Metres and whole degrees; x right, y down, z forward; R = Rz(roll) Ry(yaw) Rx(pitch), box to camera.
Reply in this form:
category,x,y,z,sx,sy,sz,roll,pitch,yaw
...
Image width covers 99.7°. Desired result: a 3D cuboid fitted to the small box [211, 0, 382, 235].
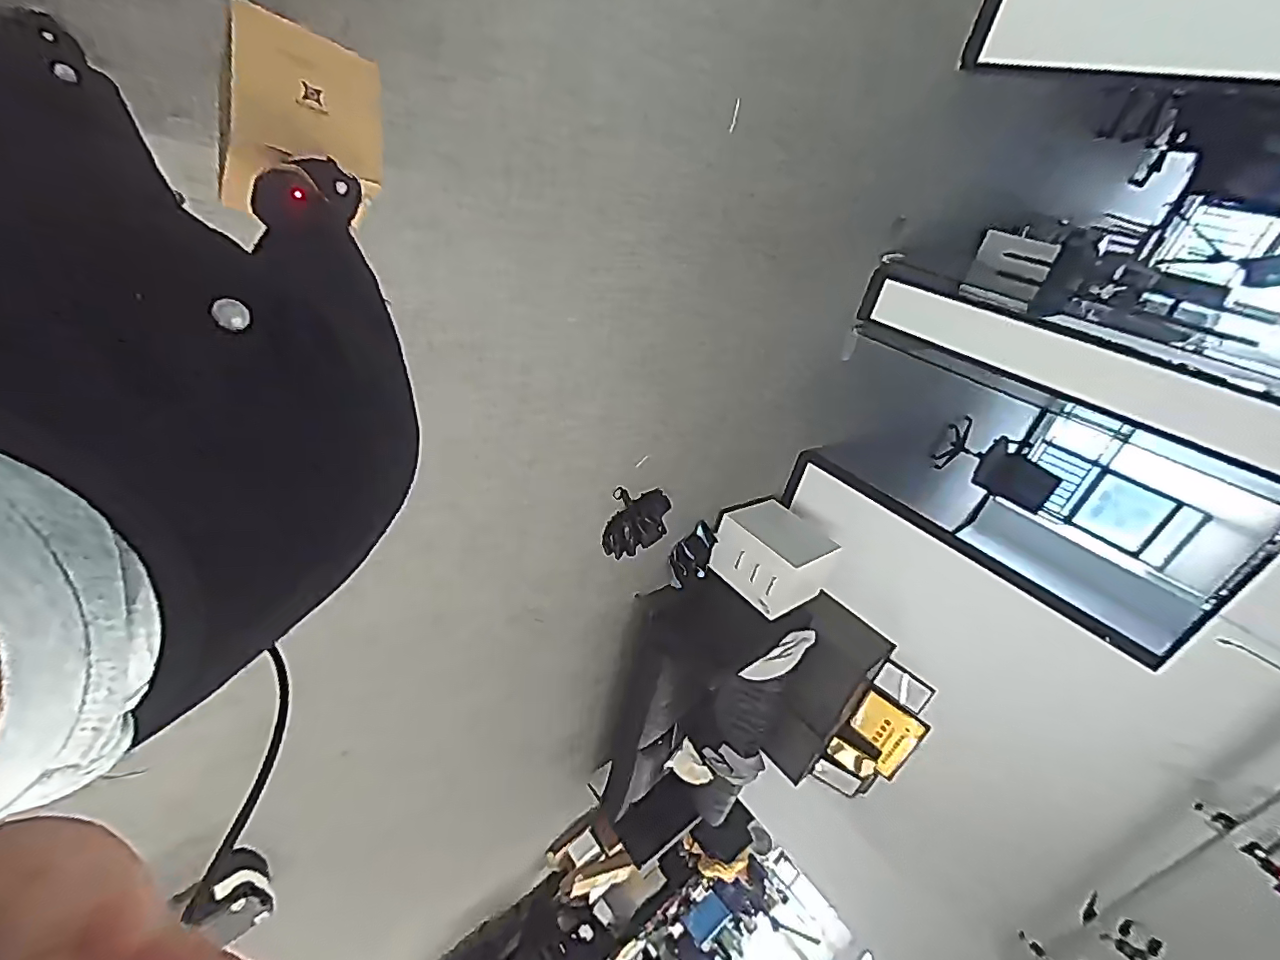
category,x,y,z,sx,sy,sz,roll,pitch,yaw
small box,-0.458,-0.459,0.719,0.168,0.176,0.179,-1,83,-43
